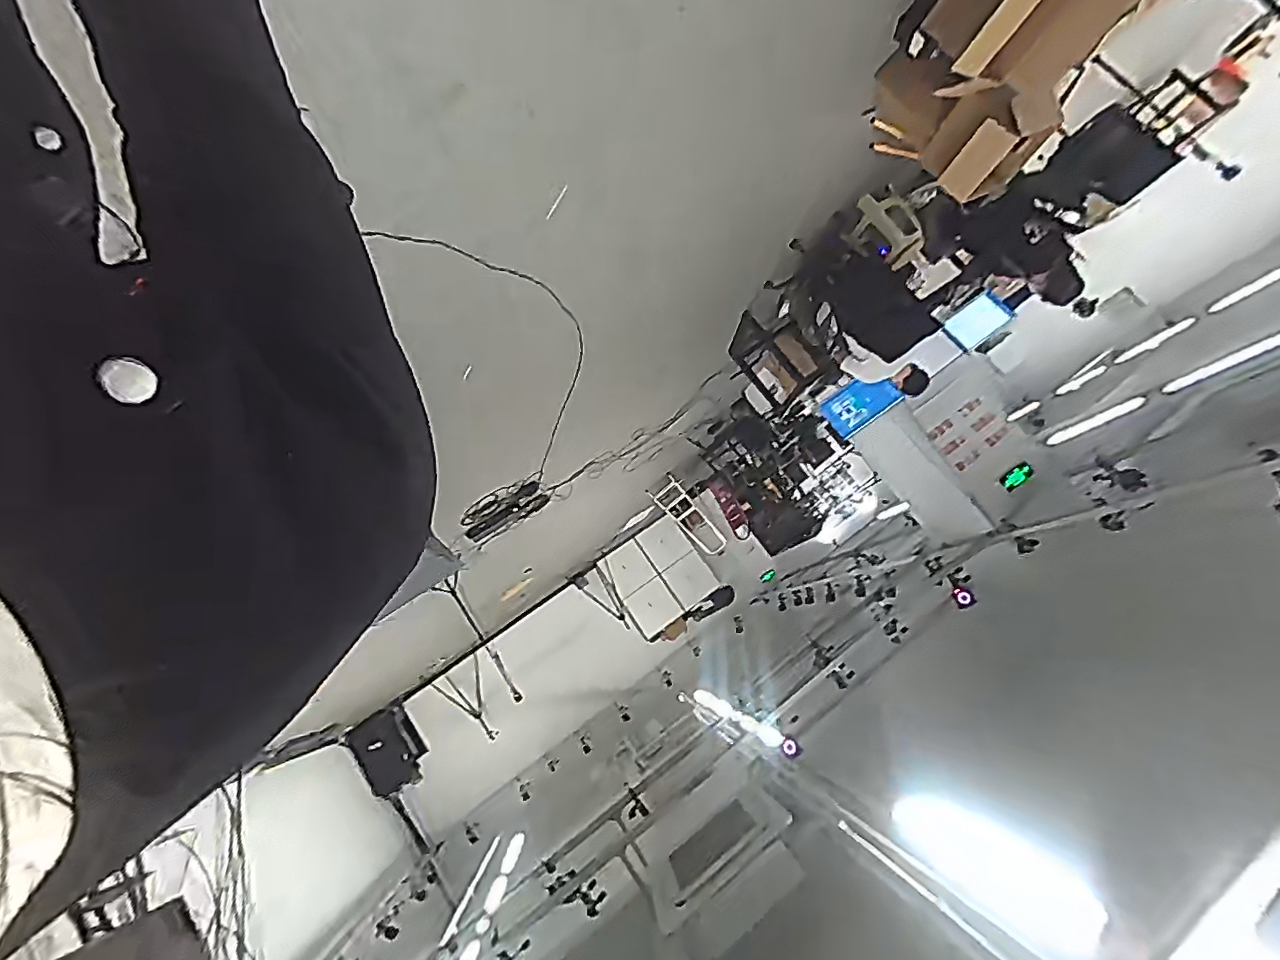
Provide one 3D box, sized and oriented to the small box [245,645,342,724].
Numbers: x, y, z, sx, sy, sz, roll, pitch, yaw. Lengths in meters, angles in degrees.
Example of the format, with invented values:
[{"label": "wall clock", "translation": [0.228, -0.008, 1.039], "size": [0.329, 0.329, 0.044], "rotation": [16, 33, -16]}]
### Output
[{"label": "small box", "translation": [-1.100, 0.643, 1.721], "size": [0.168, 0.176, 0.179], "rotation": [-35, 167, -13]}]
